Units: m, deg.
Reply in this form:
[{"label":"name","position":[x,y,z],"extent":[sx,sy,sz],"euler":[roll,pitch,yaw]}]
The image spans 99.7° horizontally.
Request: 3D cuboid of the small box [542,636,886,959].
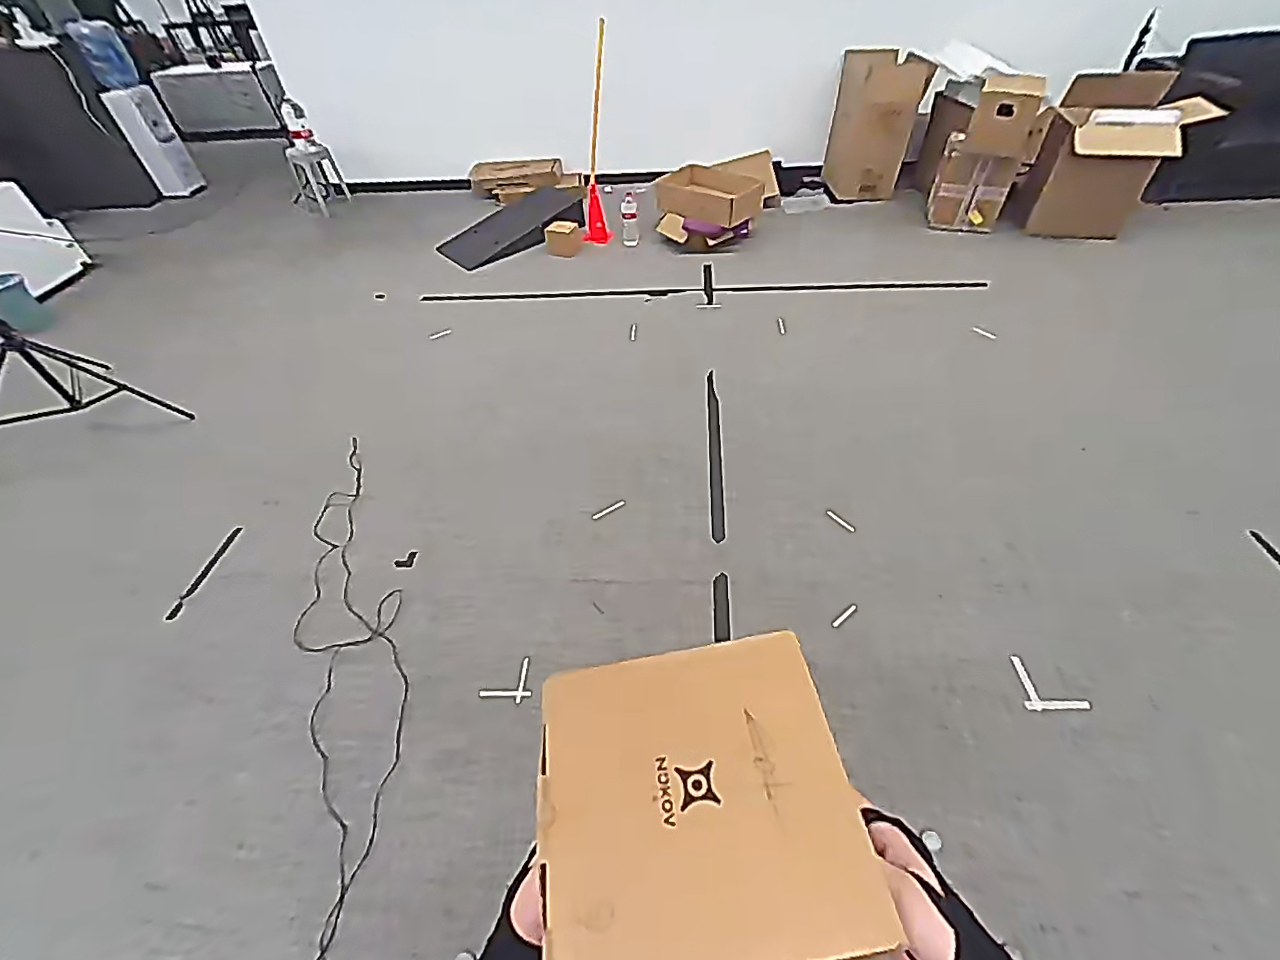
[{"label":"small box","position":[0.040,0.236,0.375],"extent":[0.179,0.176,0.168],"euler":[-11,46,1]}]
